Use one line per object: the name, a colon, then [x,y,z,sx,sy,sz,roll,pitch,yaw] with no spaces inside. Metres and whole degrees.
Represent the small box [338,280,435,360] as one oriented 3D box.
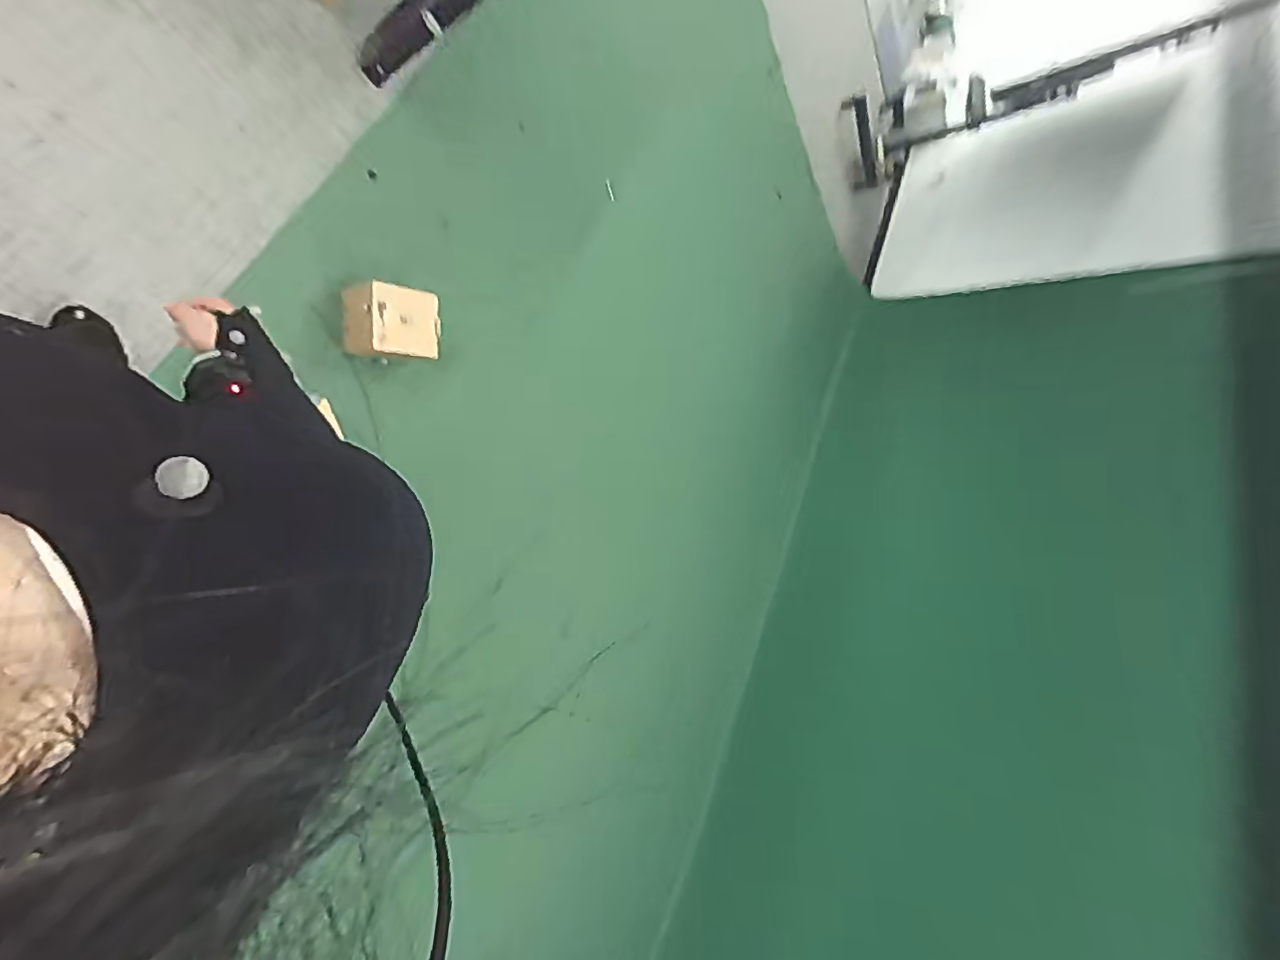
small box: [-0.664,-0.412,1.421,0.179,0.176,0.168,-3,97,-52]
